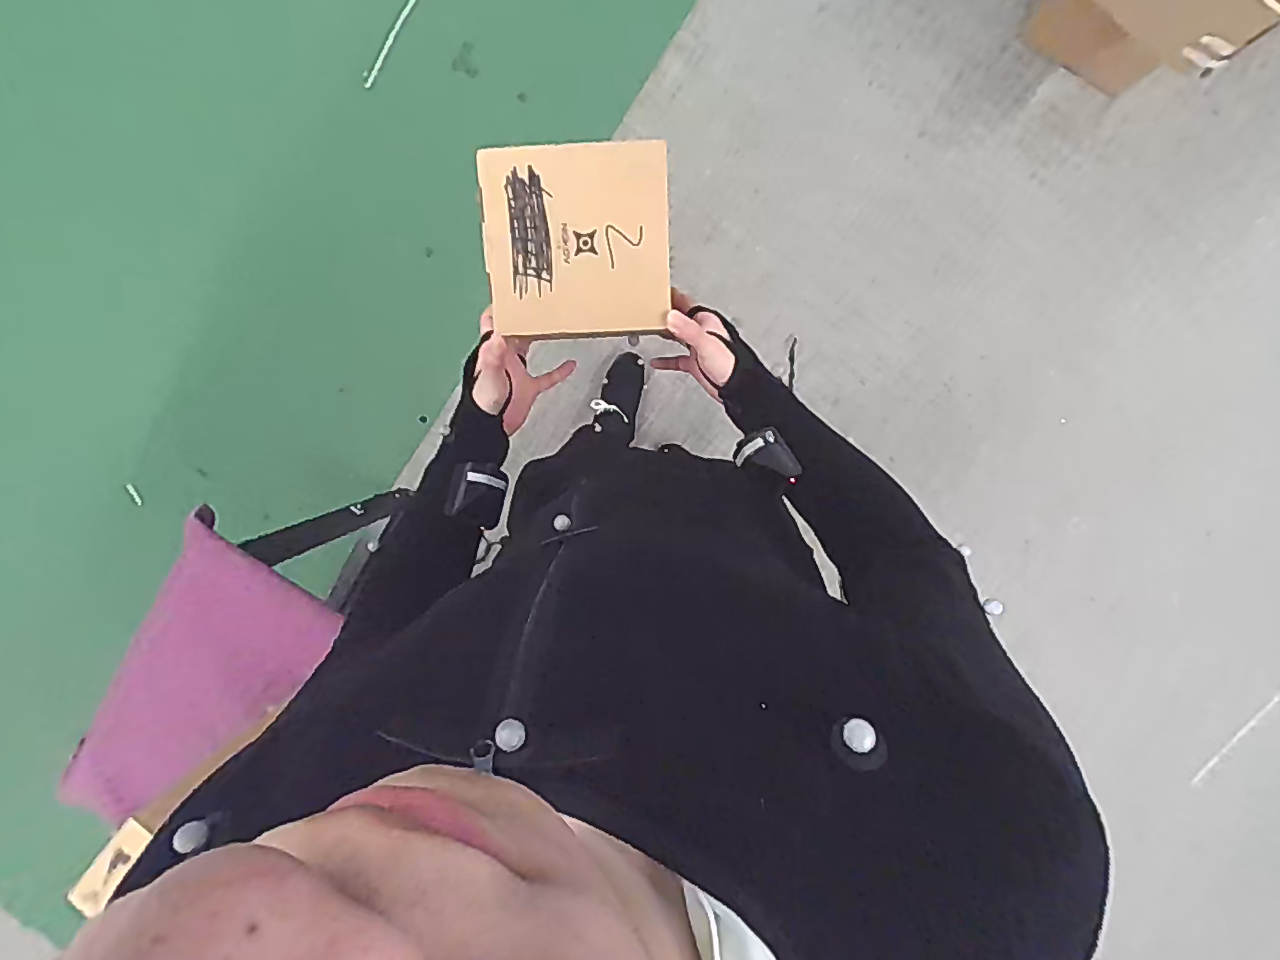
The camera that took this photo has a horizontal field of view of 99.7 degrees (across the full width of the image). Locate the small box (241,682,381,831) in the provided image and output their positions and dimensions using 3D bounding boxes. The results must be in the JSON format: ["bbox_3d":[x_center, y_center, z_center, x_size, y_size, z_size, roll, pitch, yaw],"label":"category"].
[{"bbox_3d":[-0.588,0.486,0.923,0.179,0.176,0.168,45,99,-4],"label":"small box"}]

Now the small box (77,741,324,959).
[{"bbox_3d":[-0.598,0.513,0.762,0.179,0.176,0.168,41,99,-5],"label":"small box"}]
